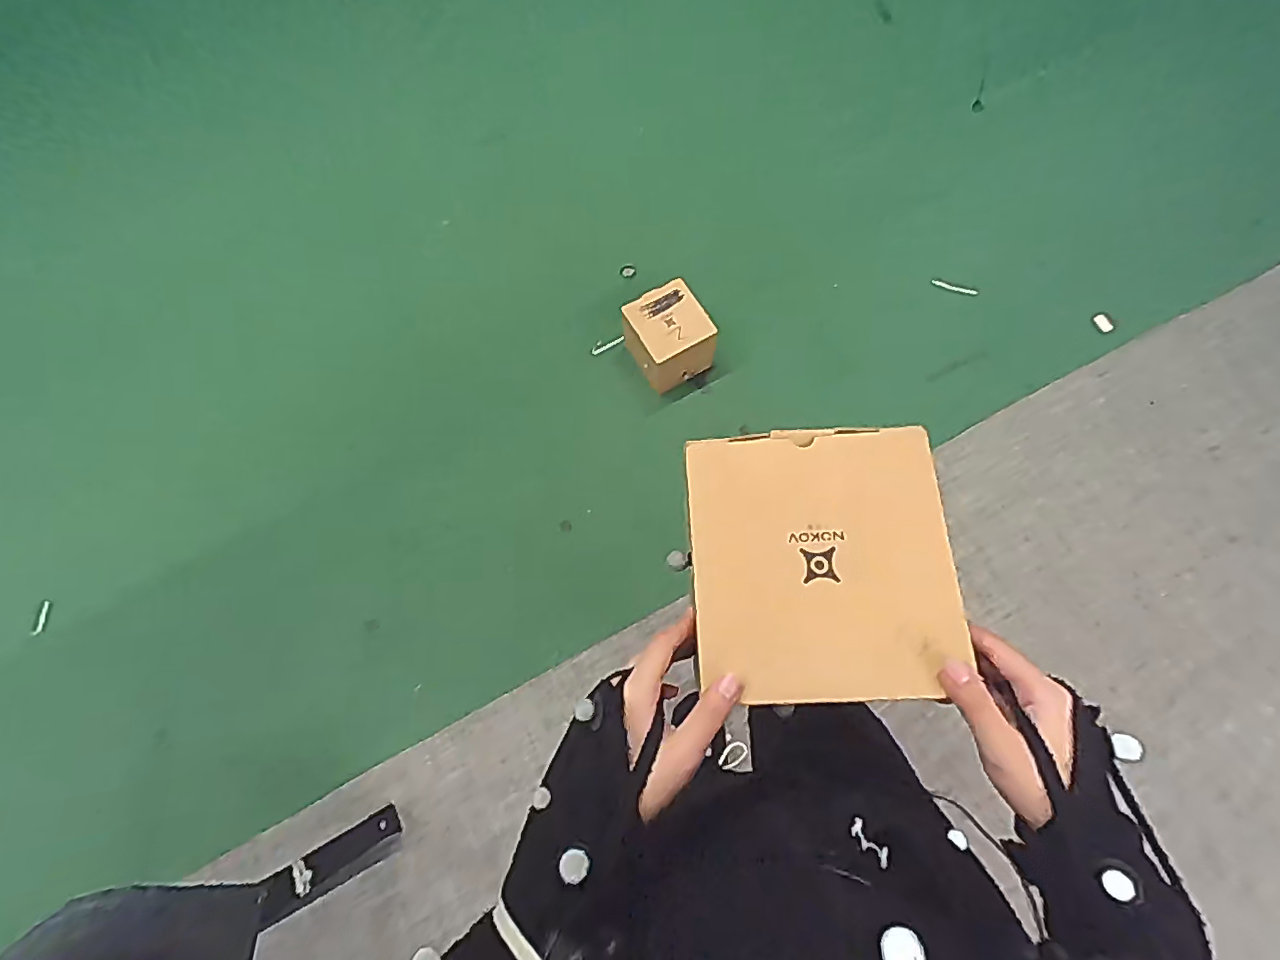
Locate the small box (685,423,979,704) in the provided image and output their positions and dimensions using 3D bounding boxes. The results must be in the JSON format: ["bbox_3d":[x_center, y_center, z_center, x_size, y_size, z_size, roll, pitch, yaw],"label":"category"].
[{"bbox_3d":[0.123,0.071,0.423,0.168,0.176,0.179,-4,72,4],"label":"small box"}]
